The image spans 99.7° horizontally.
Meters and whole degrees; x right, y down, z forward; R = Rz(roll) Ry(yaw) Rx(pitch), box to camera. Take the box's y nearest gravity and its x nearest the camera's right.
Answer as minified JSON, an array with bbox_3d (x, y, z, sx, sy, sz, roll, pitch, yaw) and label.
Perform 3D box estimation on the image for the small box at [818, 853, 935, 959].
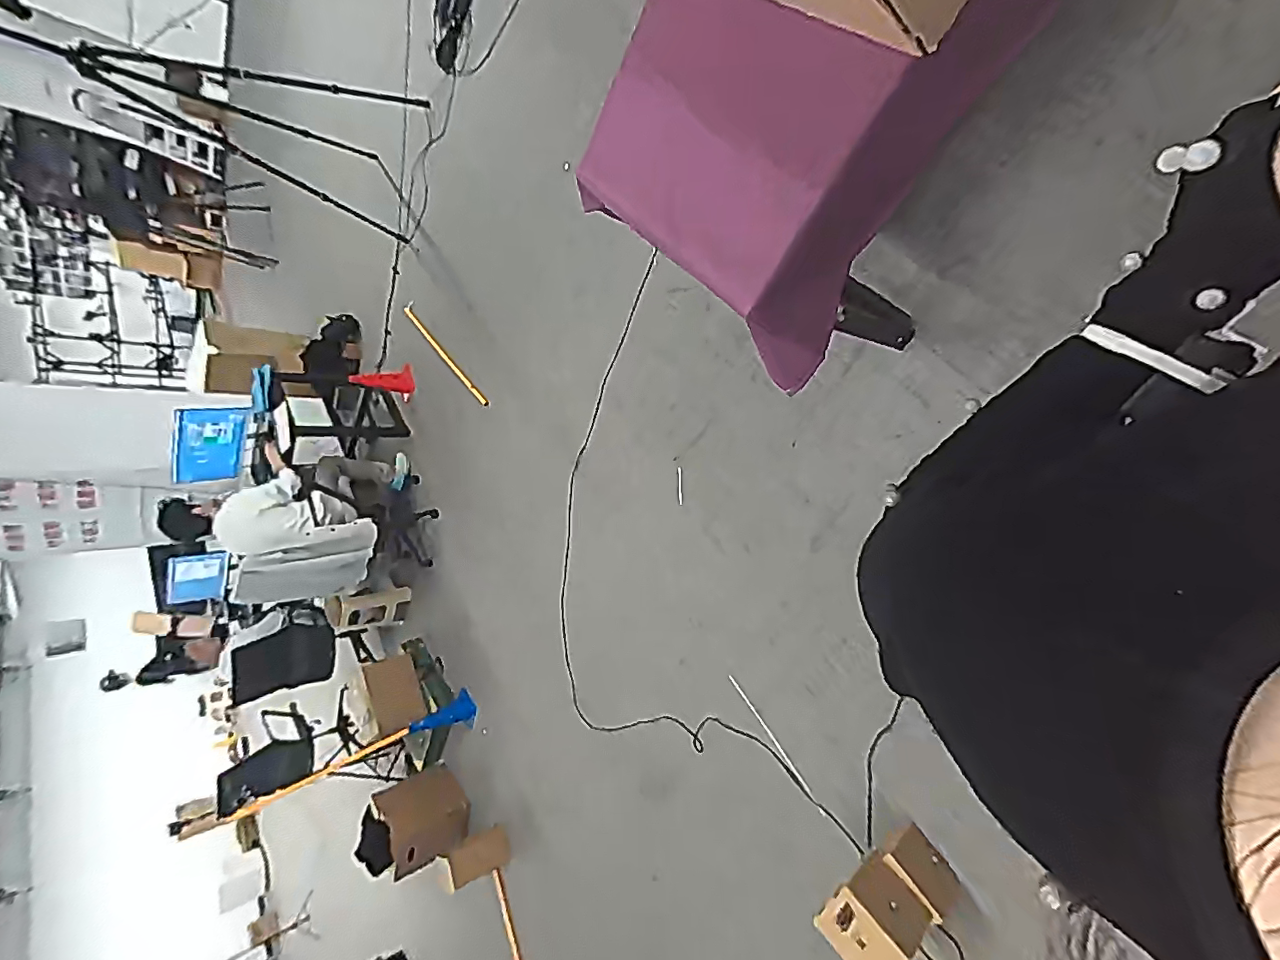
[{"bbox_3d":[0.585,1.069,1.336,0.179,0.176,0.168,42,121,34],"label":"small box"}]
